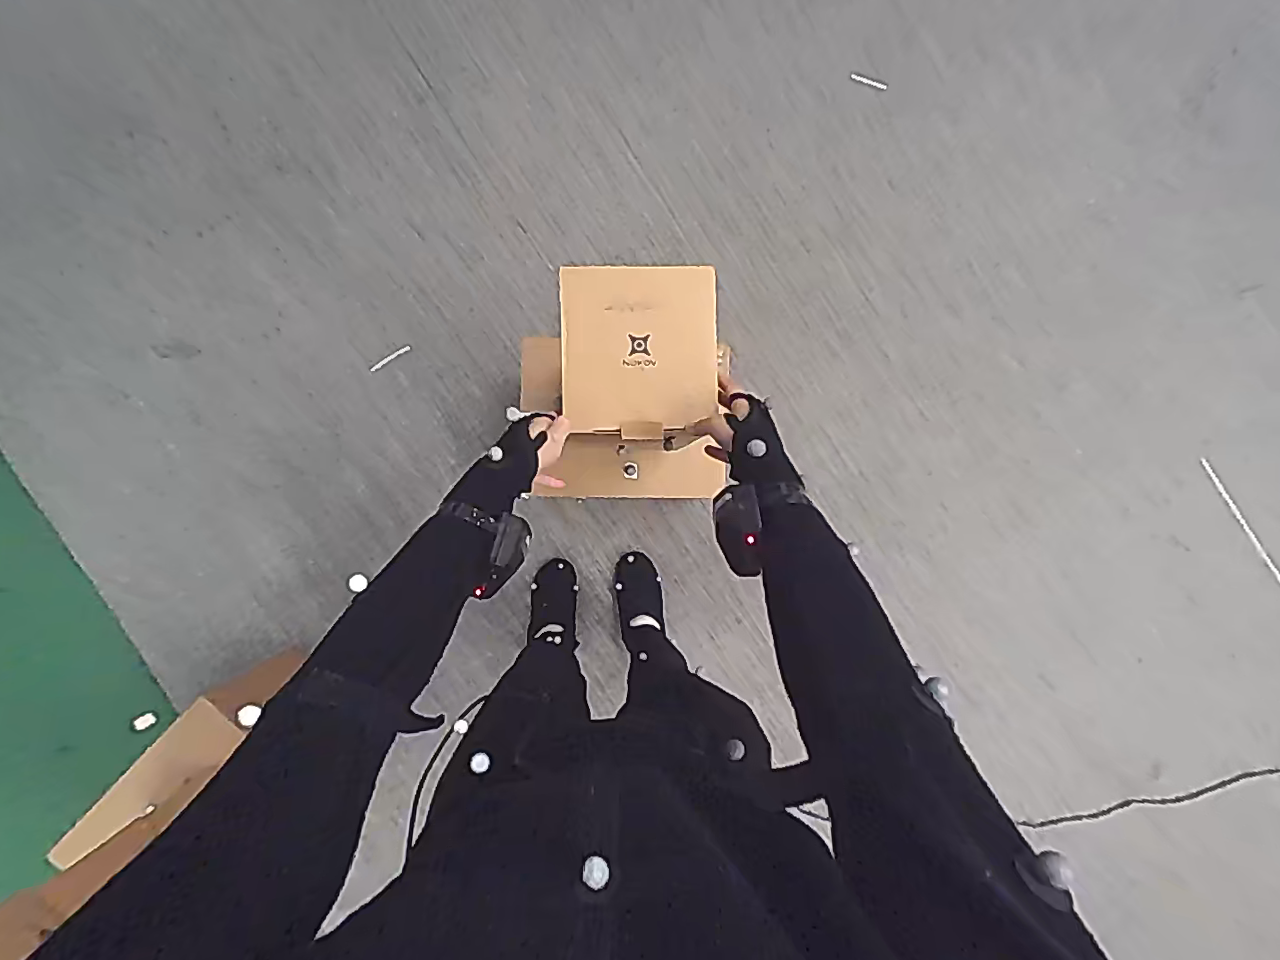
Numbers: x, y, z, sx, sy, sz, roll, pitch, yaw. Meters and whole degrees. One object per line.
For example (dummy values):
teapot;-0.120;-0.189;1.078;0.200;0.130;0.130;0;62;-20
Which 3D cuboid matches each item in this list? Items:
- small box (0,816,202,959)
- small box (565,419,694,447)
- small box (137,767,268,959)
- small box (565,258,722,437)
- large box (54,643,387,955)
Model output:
small box;-0.774;0.621;0.743;0.179;0.176;0.168;-40;92;-4
small box;-0.016;-0.138;0.802;0.179;0.176;0.168;1;89;-3
small box;-0.783;0.631;0.905;0.168;0.176;0.179;-41;92;-4
small box;0.000;-0.142;0.640;0.168;0.176;0.179;-1;90;-4
large box;-0.838;0.631;1.147;0.320;0.320;0.408;43;88;-1
